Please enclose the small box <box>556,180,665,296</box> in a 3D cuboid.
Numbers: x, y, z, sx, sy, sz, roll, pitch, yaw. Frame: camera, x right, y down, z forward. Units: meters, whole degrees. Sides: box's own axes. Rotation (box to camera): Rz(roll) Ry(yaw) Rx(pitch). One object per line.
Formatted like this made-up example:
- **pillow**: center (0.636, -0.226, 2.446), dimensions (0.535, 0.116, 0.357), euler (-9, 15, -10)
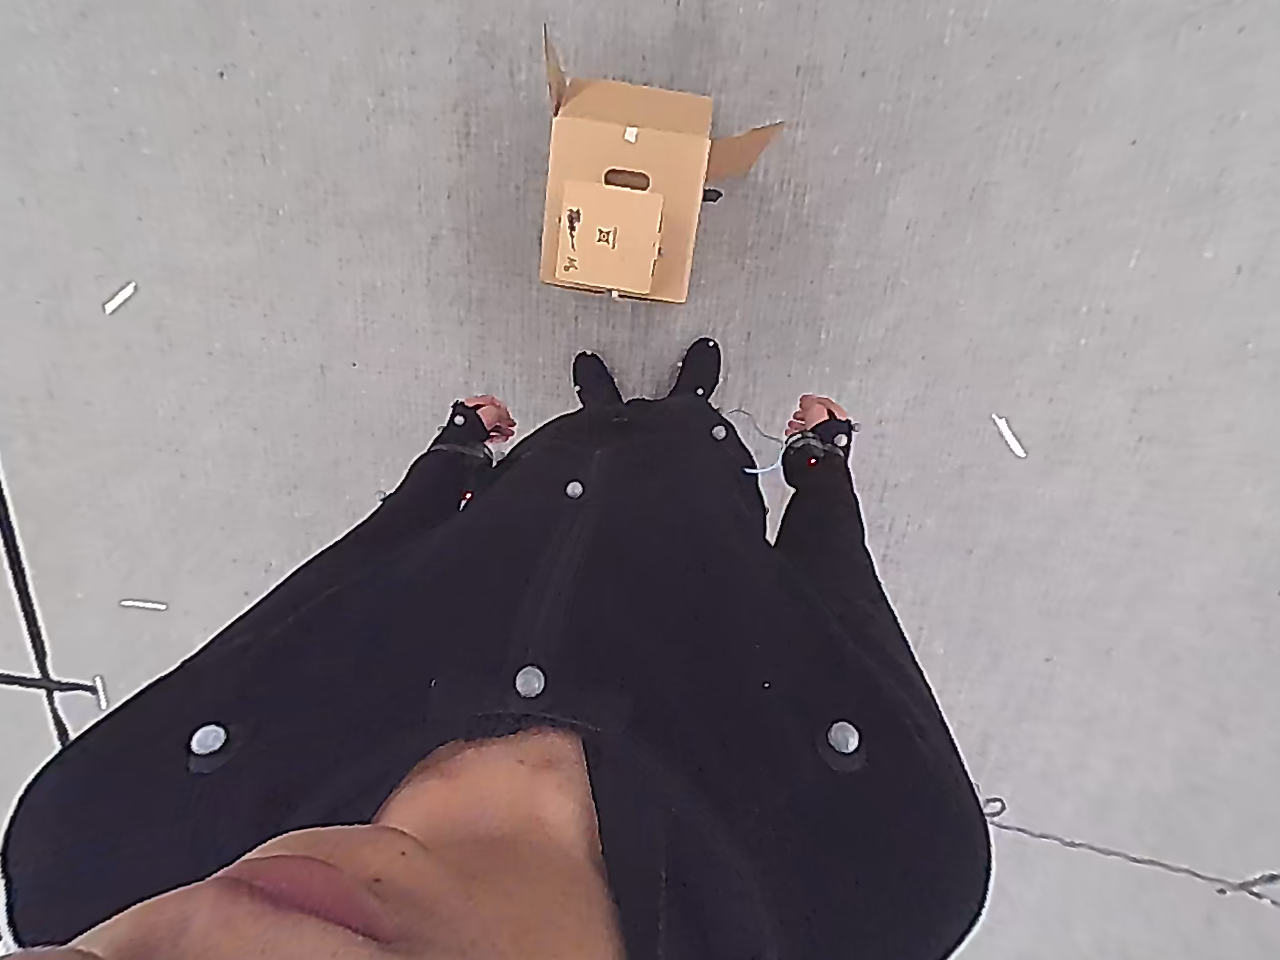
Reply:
- **small box**: center (-0.052, -0.452, 1.032), dimensions (0.179, 0.176, 0.168), euler (9, 109, -1)
